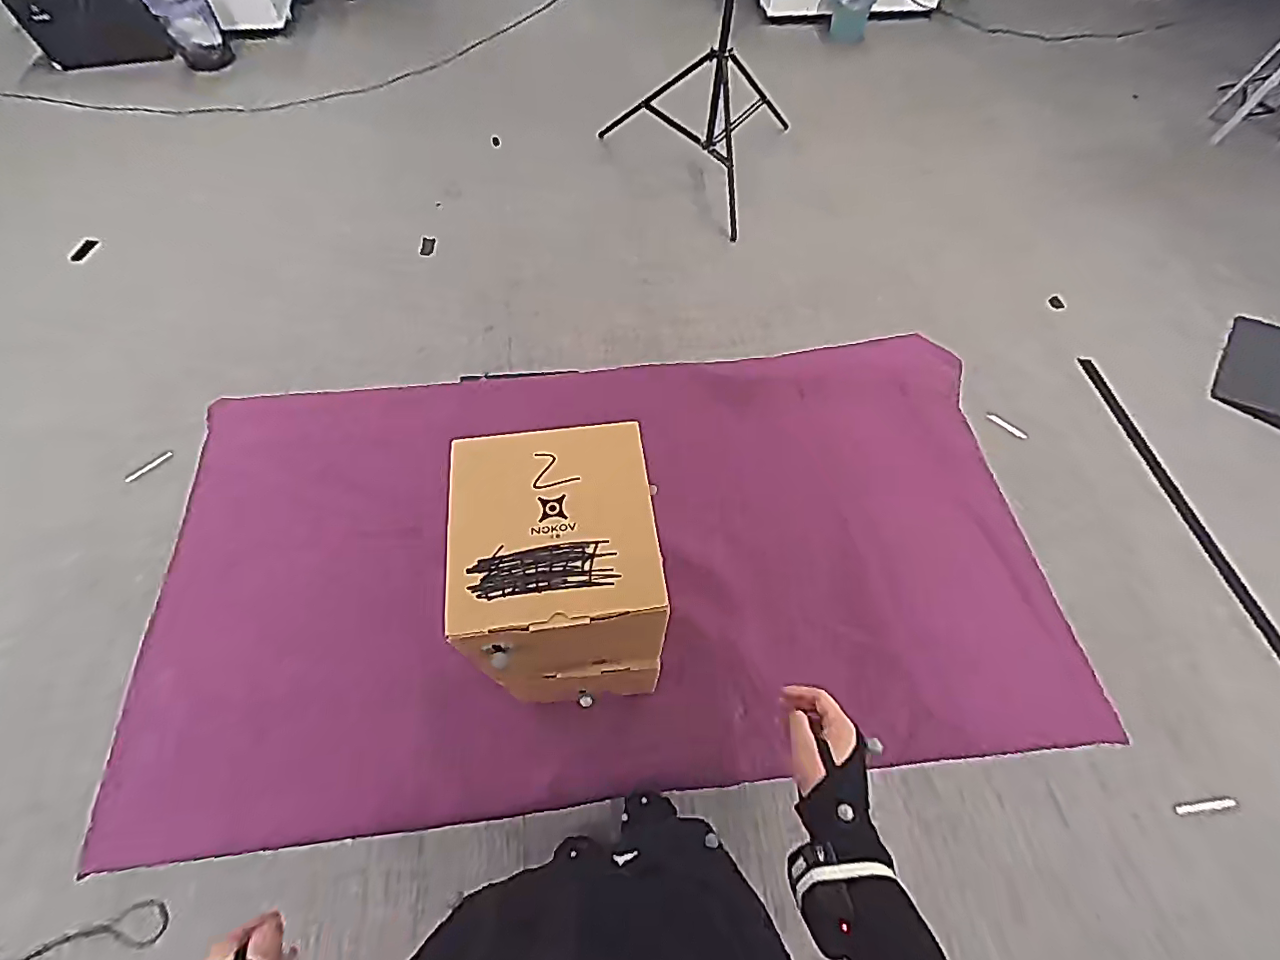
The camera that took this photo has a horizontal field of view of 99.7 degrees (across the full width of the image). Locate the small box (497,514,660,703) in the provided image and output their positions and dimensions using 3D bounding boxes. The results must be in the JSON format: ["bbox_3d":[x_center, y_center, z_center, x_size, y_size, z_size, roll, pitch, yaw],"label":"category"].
[{"bbox_3d":[-0.069,0.158,0.650,0.168,0.176,0.179,-4,61,-3],"label":"small box"}]
